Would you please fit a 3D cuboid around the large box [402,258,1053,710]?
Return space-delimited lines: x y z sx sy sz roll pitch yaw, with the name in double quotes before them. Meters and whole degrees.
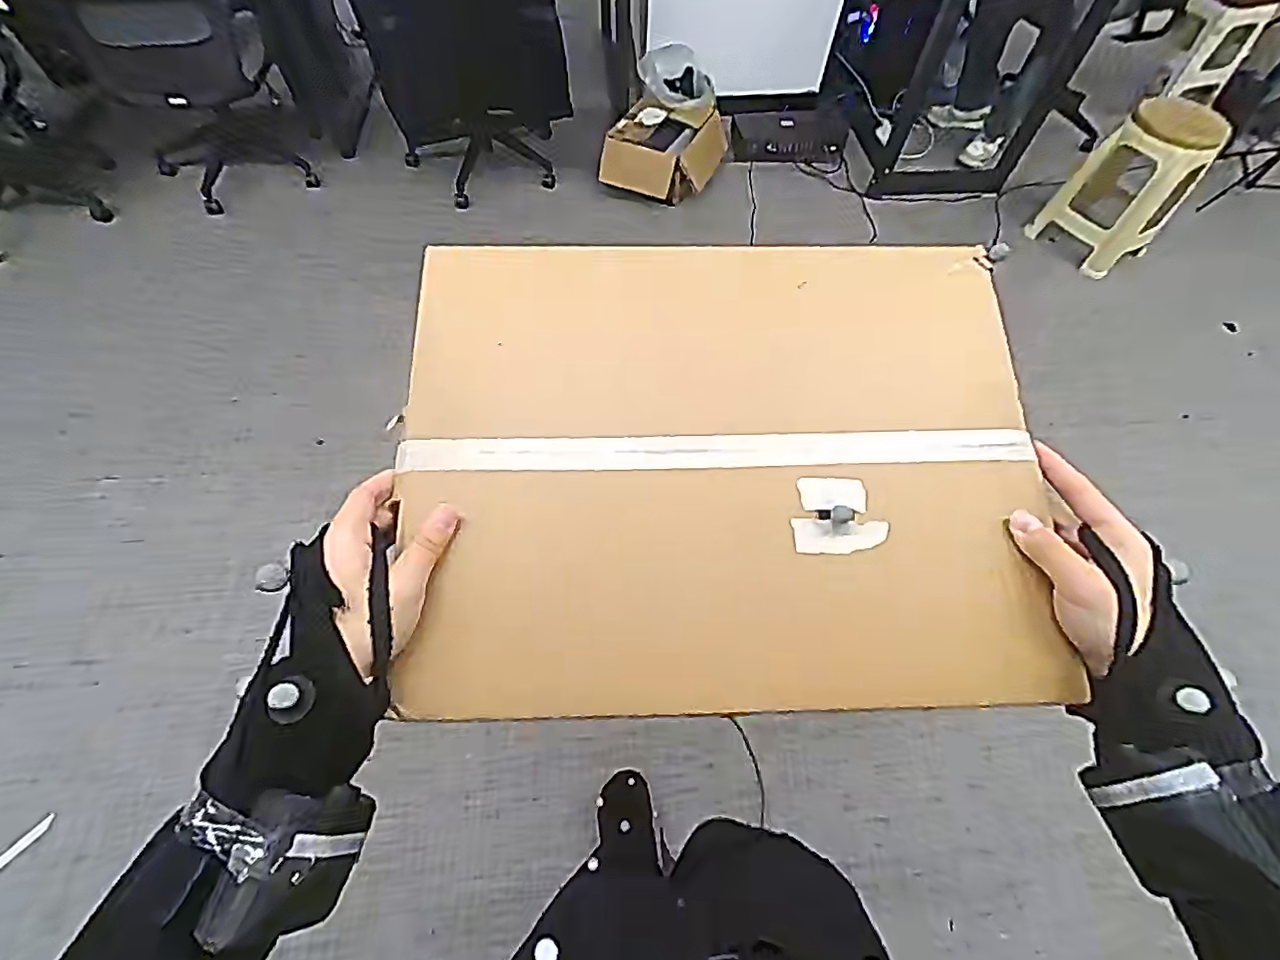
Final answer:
"large box" 0.046 0.023 0.506 0.408 0.320 0.320 -1 75 -2
